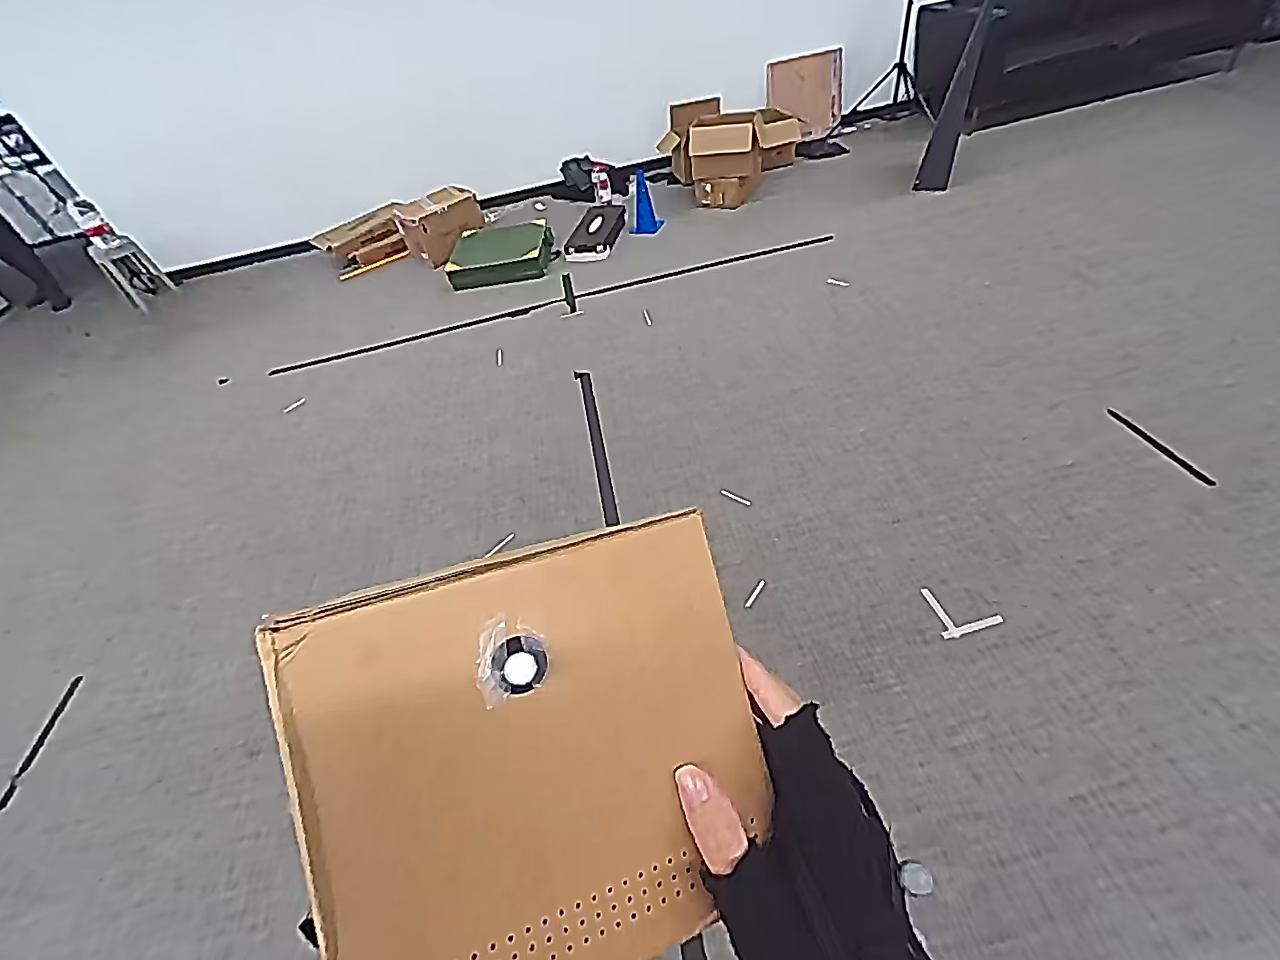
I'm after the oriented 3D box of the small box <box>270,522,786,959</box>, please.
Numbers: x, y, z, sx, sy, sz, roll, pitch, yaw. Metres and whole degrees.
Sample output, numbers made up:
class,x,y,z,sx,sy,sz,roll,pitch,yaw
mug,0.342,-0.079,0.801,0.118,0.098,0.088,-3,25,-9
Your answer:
class,x,y,z,sx,sy,sz,roll,pitch,yaw
small box,-0.053,0.129,0.285,0.179,0.168,0.176,-13,86,-18
